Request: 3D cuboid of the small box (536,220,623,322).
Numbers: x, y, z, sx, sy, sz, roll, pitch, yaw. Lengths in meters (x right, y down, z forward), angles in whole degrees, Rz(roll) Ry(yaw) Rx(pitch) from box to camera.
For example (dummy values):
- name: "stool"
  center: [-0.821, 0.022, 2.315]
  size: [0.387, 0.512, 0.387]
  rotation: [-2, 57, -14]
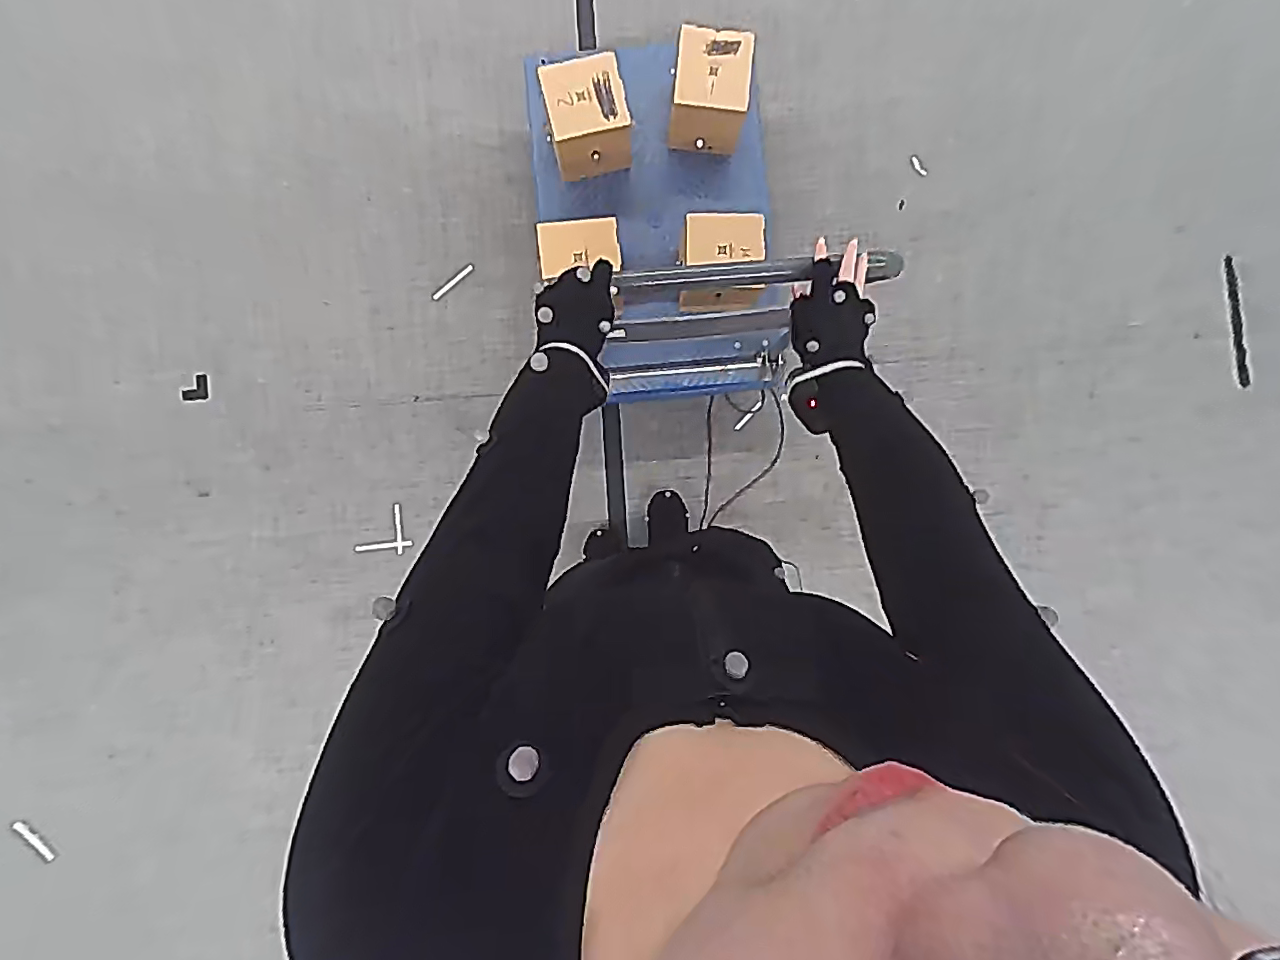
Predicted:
- name: "small box"
  center: [-0.135, -0.475, 1.252]
  size: [0.179, 0.176, 0.168]
  rotation: [-7, 89, -4]

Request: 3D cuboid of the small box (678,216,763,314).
- name: "small box"
  center: [0.182, -0.494, 1.263]
  size: [0.179, 0.176, 0.168]
  rotation: [0, 90, -2]

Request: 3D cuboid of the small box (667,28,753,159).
- name: "small box"
  center: [0.157, -0.896, 1.266]
  size: [0.168, 0.176, 0.179]
  rotation: [6, 90, -2]
